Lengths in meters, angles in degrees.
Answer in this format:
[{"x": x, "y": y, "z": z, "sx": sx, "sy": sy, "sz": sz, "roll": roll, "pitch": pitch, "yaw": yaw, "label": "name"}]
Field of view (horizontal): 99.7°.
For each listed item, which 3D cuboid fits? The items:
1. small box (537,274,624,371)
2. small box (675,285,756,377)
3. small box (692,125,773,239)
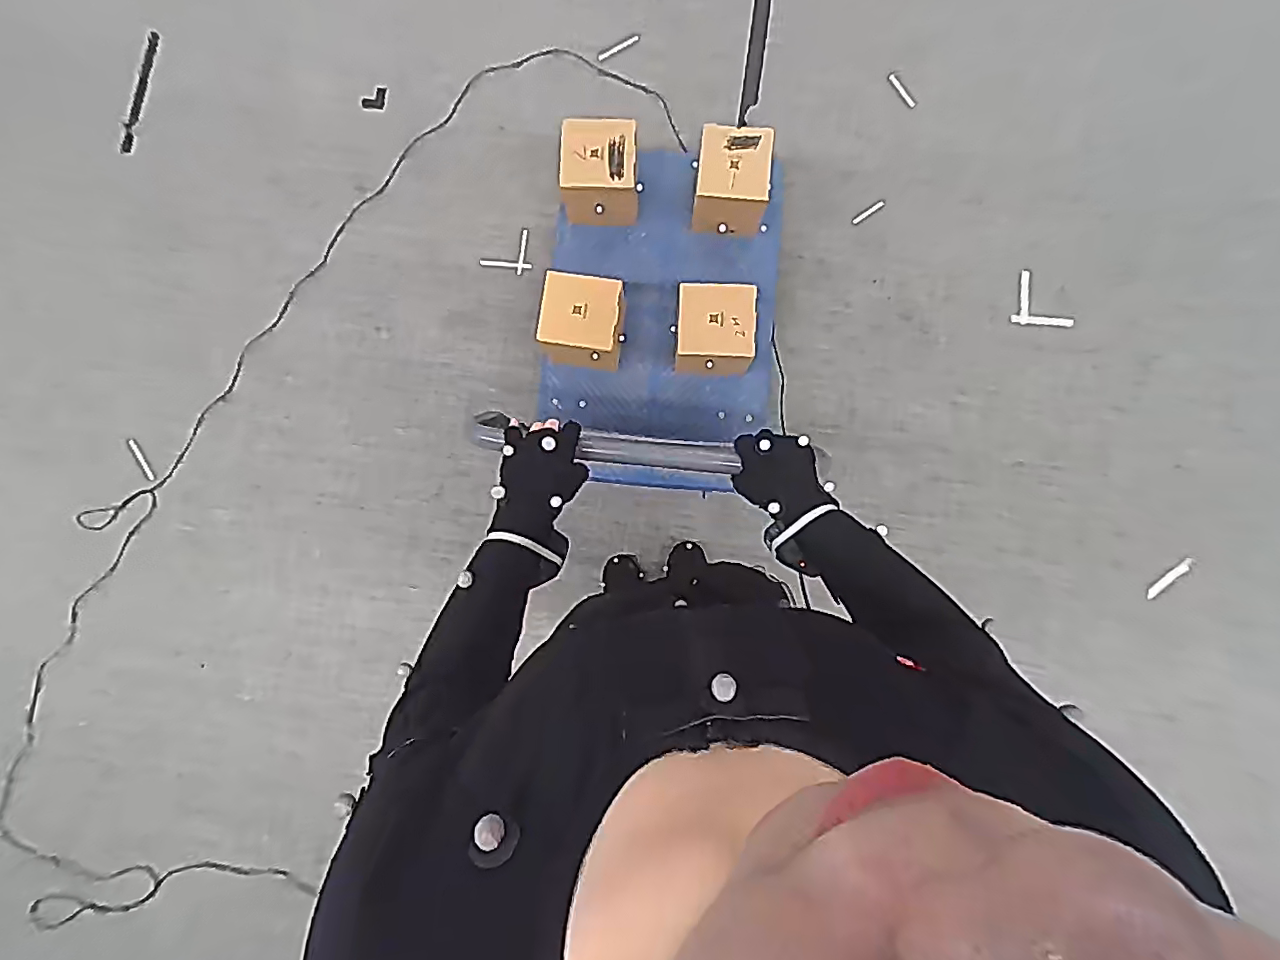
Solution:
[{"x": -0.136, "y": -0.371, "z": 1.297, "sx": 0.179, "sy": 0.176, "sz": 0.168, "roll": 7, "pitch": 85, "yaw": 0, "label": "small box"}, {"x": 0.174, "y": -0.349, "z": 1.289, "sx": 0.179, "sy": 0.176, "sz": 0.168, "roll": 2, "pitch": 86, "yaw": 2, "label": "small box"}, {"x": 0.218, "y": -0.718, "z": 1.315, "sx": 0.168, "sy": 0.176, "sz": 0.179, "roll": 5, "pitch": 87, "yaw": 2, "label": "small box"}]
